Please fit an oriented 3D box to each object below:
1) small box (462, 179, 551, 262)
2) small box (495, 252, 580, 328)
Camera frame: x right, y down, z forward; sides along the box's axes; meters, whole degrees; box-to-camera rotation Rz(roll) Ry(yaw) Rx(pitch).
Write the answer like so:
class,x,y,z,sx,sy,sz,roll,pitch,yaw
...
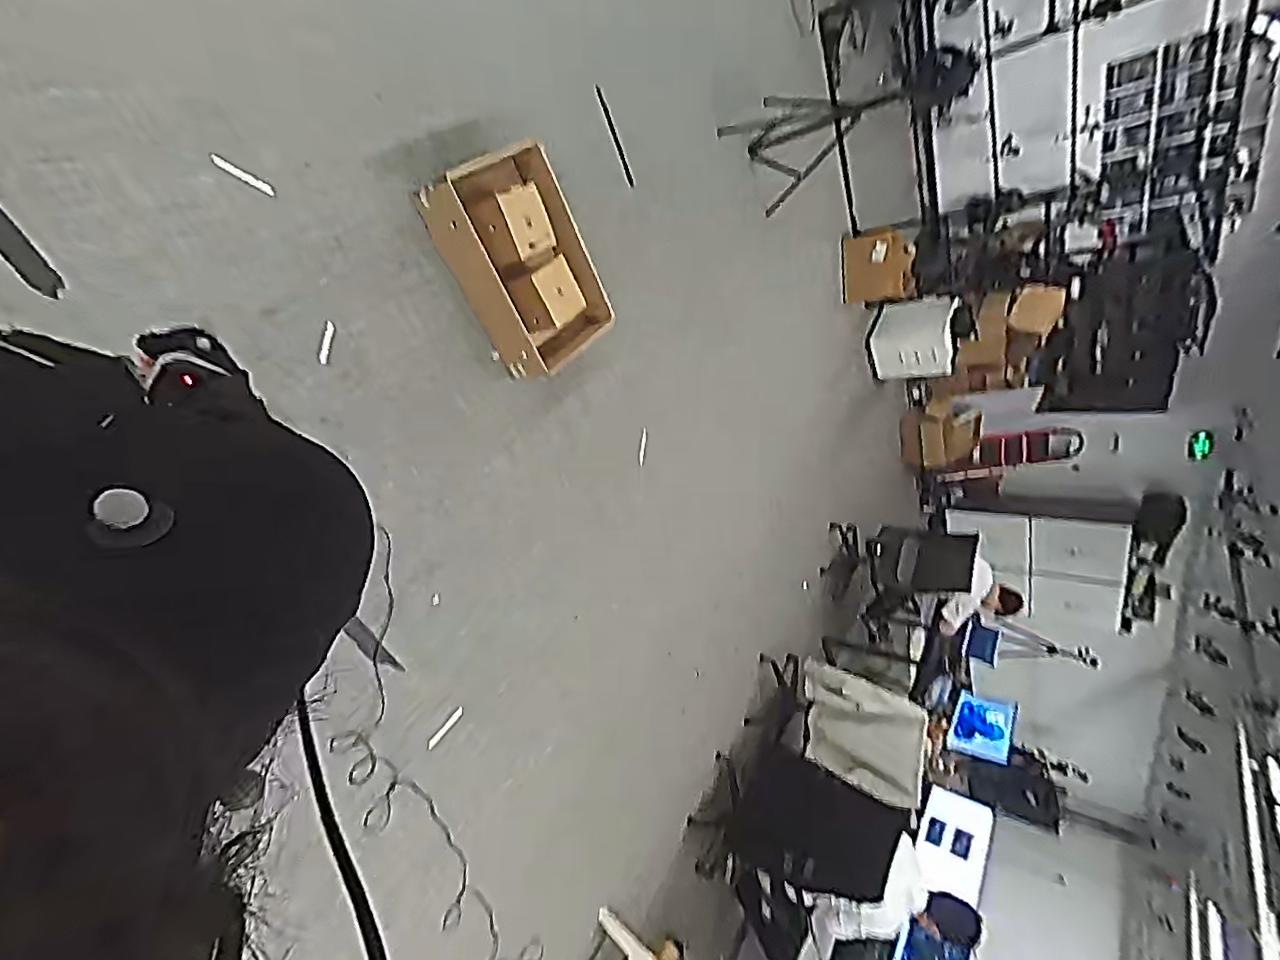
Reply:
class,x,y,z,sx,sy,sz,roll,pitch,yaw
small box,-0.412,-0.793,1.661,0.168,0.176,0.179,-45,126,-37
small box,-0.335,-0.616,1.775,0.168,0.176,0.179,-52,128,-34
